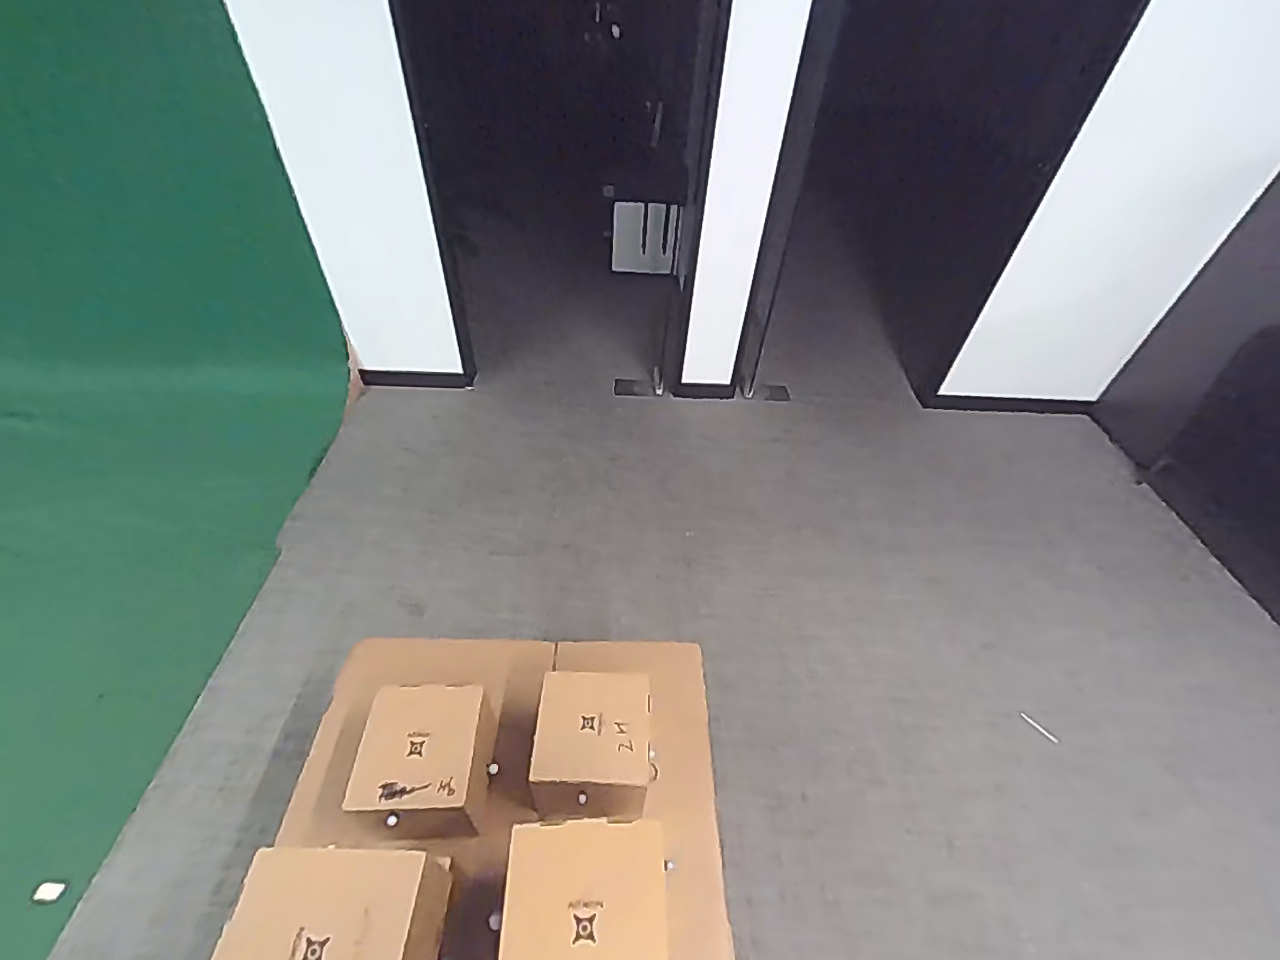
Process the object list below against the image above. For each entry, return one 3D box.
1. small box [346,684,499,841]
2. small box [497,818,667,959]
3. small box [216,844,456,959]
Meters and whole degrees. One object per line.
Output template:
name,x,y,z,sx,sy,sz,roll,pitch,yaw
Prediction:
small box,-0.324,0.444,0.851,0.168,0.176,0.179,-1,44,-2
small box,-0.057,0.493,0.592,0.168,0.176,0.179,0,45,-3
small box,-0.313,0.500,0.567,0.179,0.176,0.168,3,47,-2
